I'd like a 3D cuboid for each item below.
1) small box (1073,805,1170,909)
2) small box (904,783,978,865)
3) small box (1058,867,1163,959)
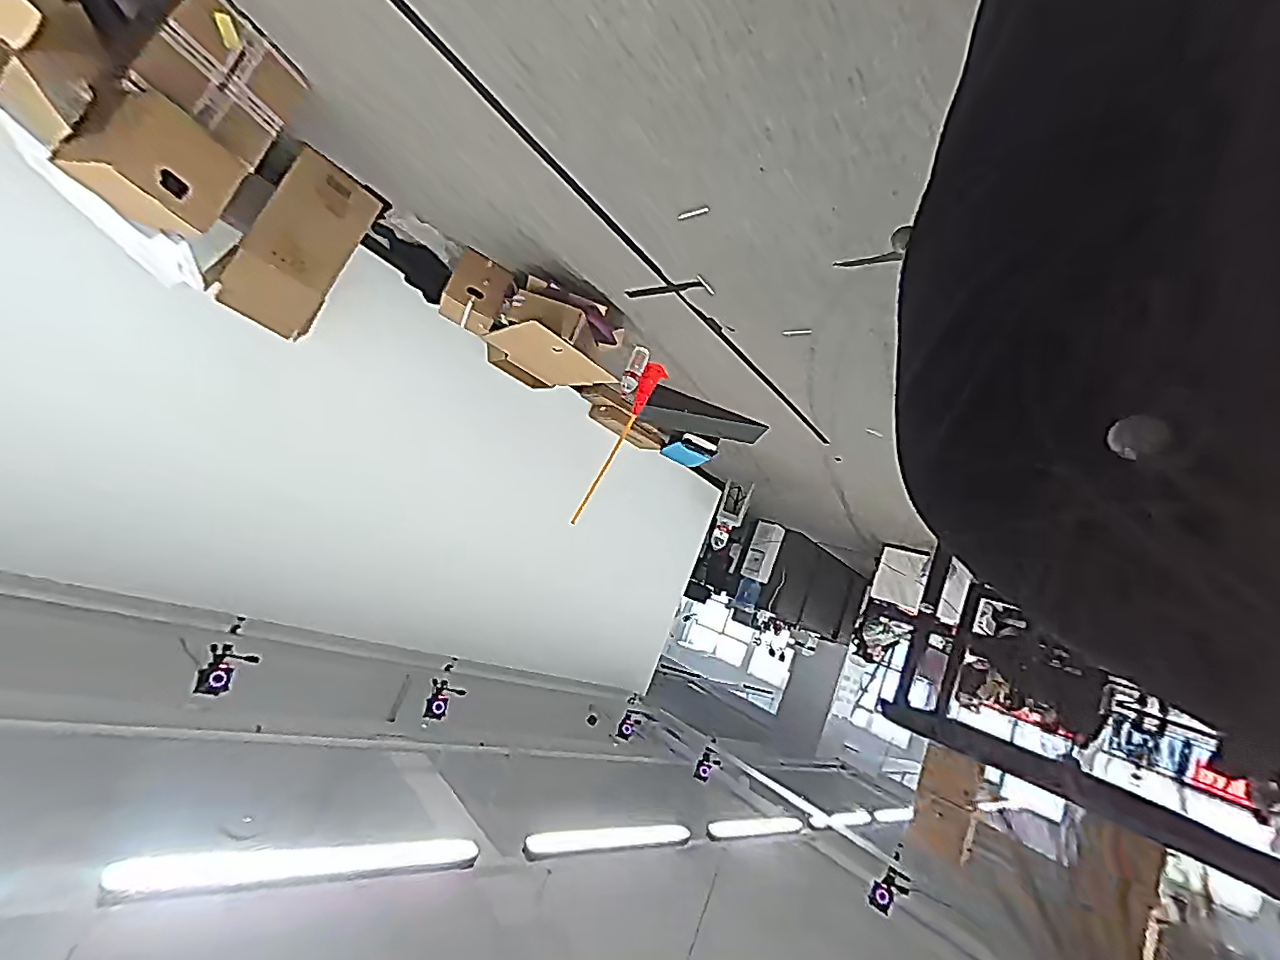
[{"bbox_3d":[1.359,1.051,1.522,0.168,0.176,0.179,28,170,-39],"label":"small box"},{"bbox_3d":[1.015,1.143,1.815,0.168,0.176,0.179,12,167,43],"label":"small box"},{"bbox_3d":[1.309,1.204,1.504,0.168,0.176,0.179,25,170,-34],"label":"small box"}]
